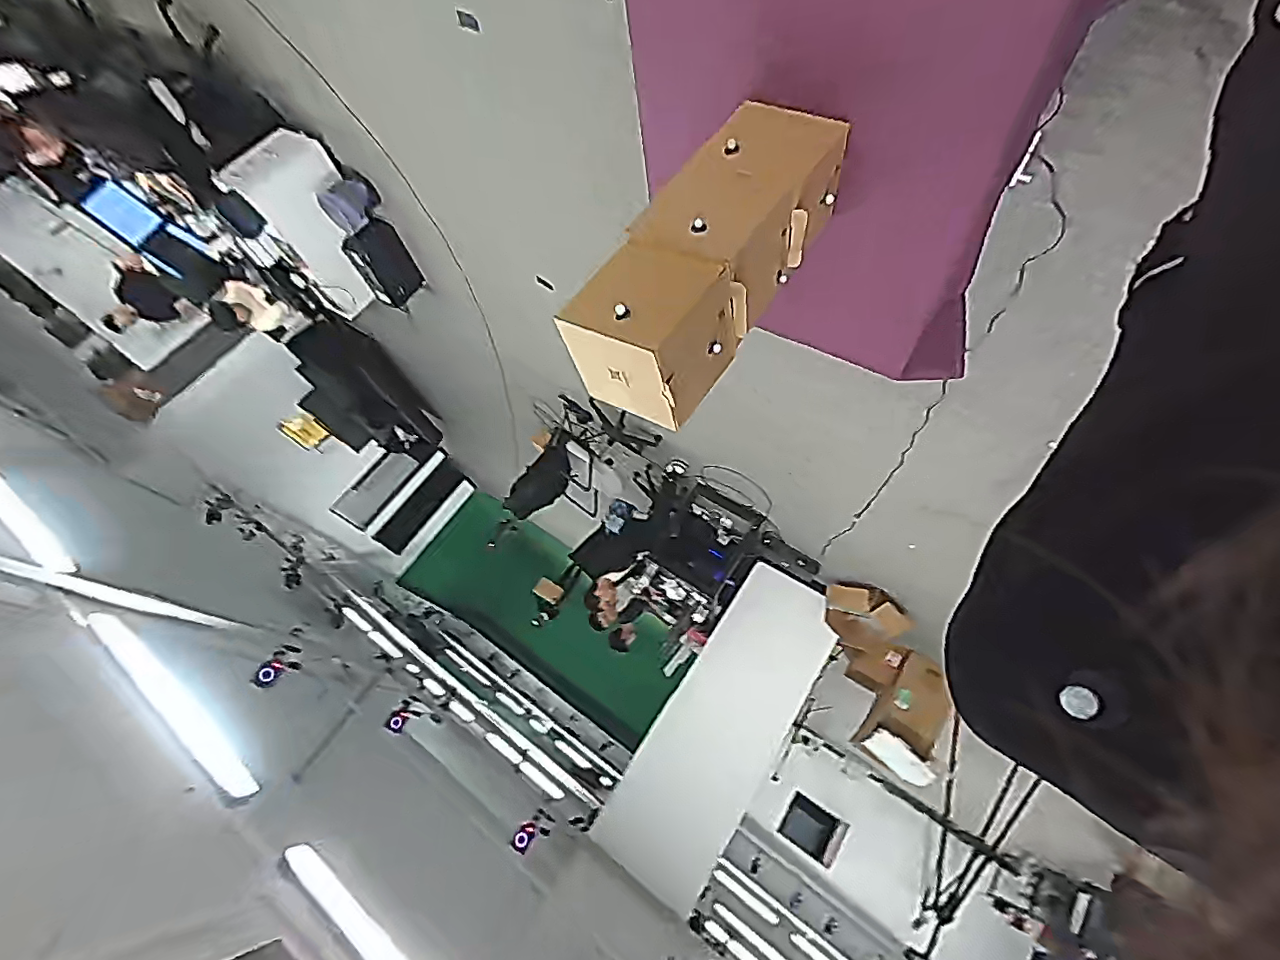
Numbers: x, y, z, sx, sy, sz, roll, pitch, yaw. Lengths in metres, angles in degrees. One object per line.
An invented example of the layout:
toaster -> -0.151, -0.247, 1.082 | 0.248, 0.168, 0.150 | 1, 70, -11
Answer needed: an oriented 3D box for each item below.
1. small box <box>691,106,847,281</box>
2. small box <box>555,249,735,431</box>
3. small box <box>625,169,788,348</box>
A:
small box -> 0.201, -0.462, 0.868 | 0.179, 0.176, 0.168 | 29, 161, 21
small box -> 0.015, -0.206, 0.782 | 0.179, 0.176, 0.168 | 26, 159, 29
small box -> 0.108, -0.336, 0.819 | 0.179, 0.176, 0.168 | 29, 160, 25
